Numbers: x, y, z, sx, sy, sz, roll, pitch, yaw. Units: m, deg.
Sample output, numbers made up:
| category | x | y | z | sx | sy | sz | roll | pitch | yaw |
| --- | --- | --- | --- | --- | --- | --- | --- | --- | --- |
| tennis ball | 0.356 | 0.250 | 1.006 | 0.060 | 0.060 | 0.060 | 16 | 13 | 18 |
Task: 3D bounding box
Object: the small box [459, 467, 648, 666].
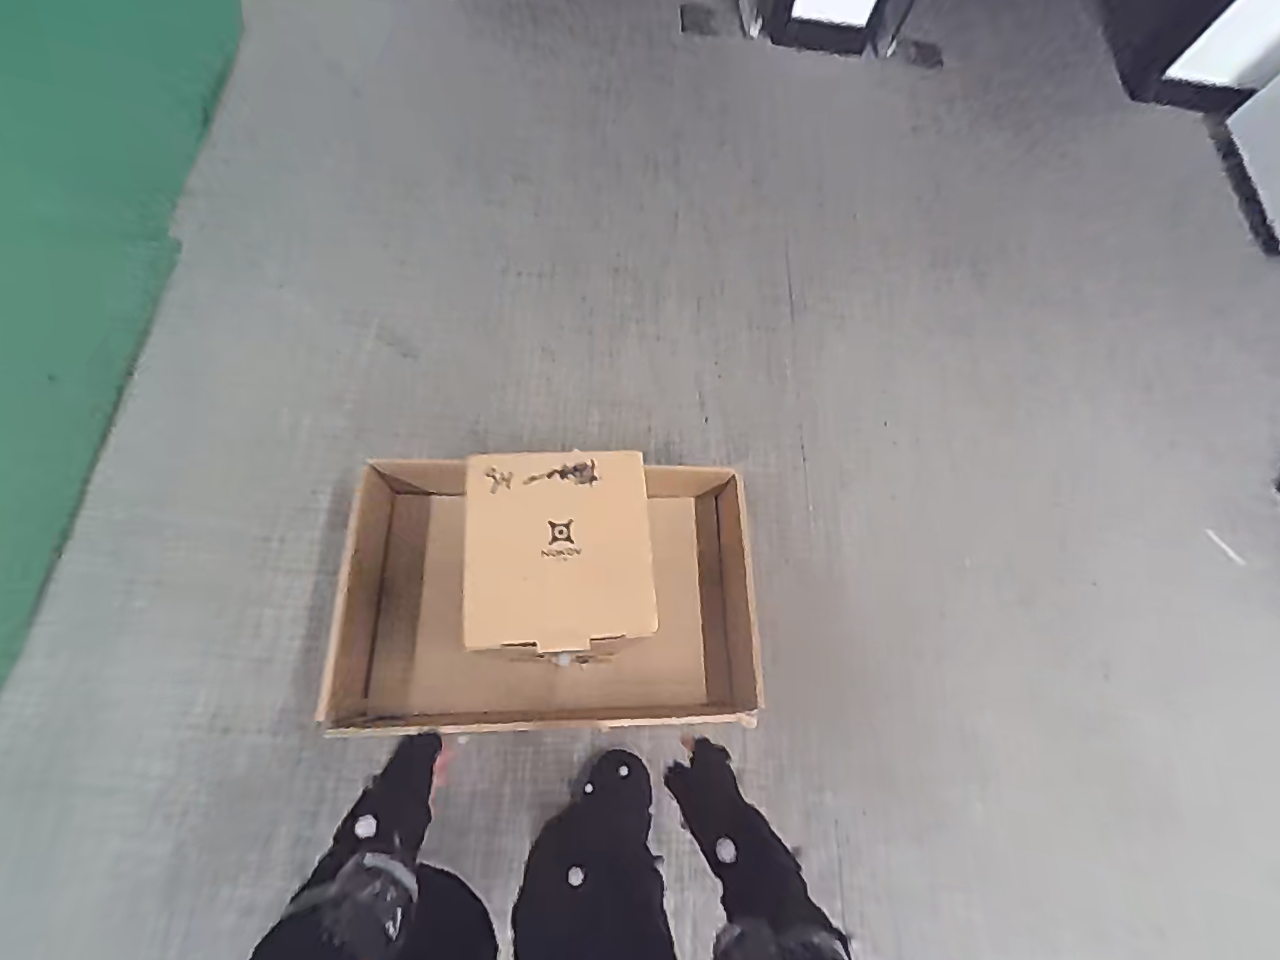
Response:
| category | x | y | z | sx | sy | sz | roll | pitch | yaw |
| --- | --- | --- | --- | --- | --- | --- | --- | --- | --- |
| small box | -0.086 | 0.097 | 0.566 | 0.168 | 0.176 | 0.179 | -2 | 70 | -8 |
